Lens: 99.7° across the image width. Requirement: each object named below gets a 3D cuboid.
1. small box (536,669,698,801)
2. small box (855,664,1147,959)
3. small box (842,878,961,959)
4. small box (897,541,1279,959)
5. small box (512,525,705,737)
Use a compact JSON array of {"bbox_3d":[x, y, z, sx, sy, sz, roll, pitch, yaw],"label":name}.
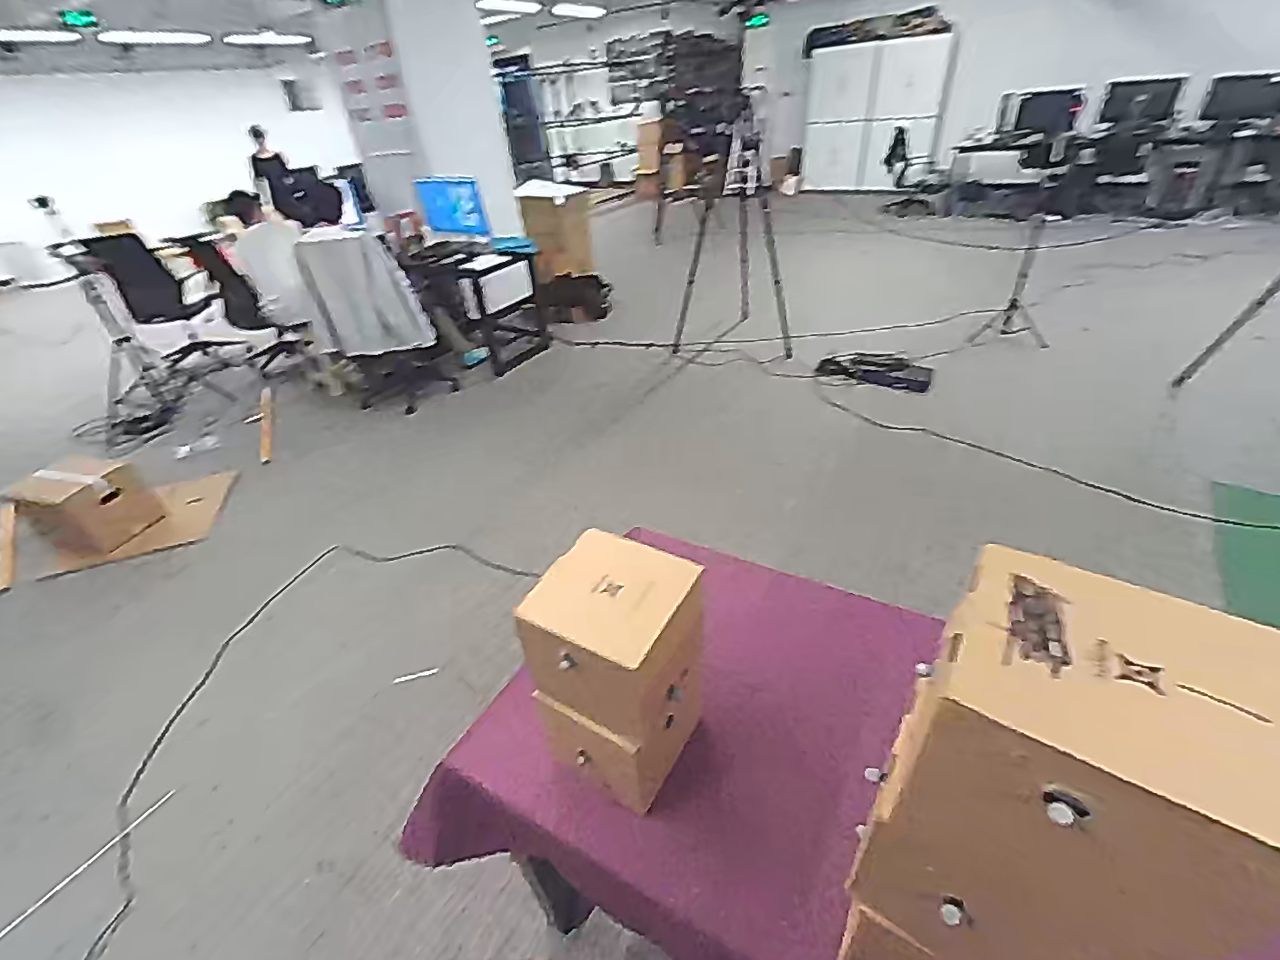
[{"bbox_3d":[-0.021,0.320,0.787,0.168,0.176,0.179,18,42,28],"label":"small box"},{"bbox_3d":[0.308,0.308,0.479,0.179,0.176,0.168,19,43,31],"label":"small box"},{"bbox_3d":[0.327,0.442,0.572,0.179,0.176,0.168,16,41,27],"label":"small box"},{"bbox_3d":[0.301,0.178,0.377,0.179,0.176,0.168,20,43,30],"label":"small box"},{"bbox_3d":[-0.030,0.190,0.690,0.179,0.176,0.168,17,43,27],"label":"small box"}]
